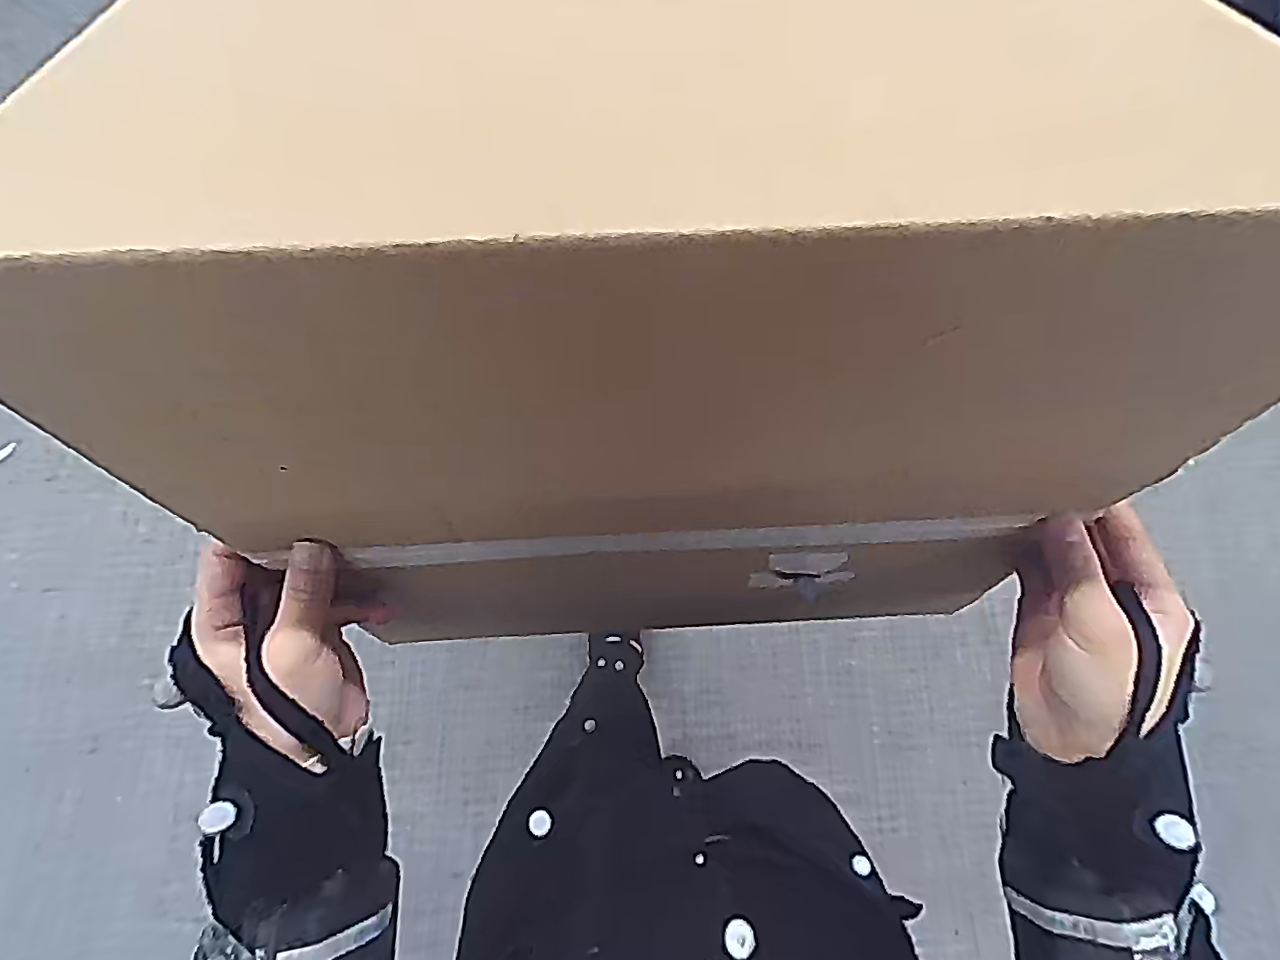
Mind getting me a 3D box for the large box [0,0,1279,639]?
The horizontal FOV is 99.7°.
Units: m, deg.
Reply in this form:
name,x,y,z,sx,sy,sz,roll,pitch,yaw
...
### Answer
name,x,y,z,sx,sy,sz,roll,pitch,yaw
large box,0.006,-0.106,0.343,0.408,0.320,0.320,-4,59,-1
